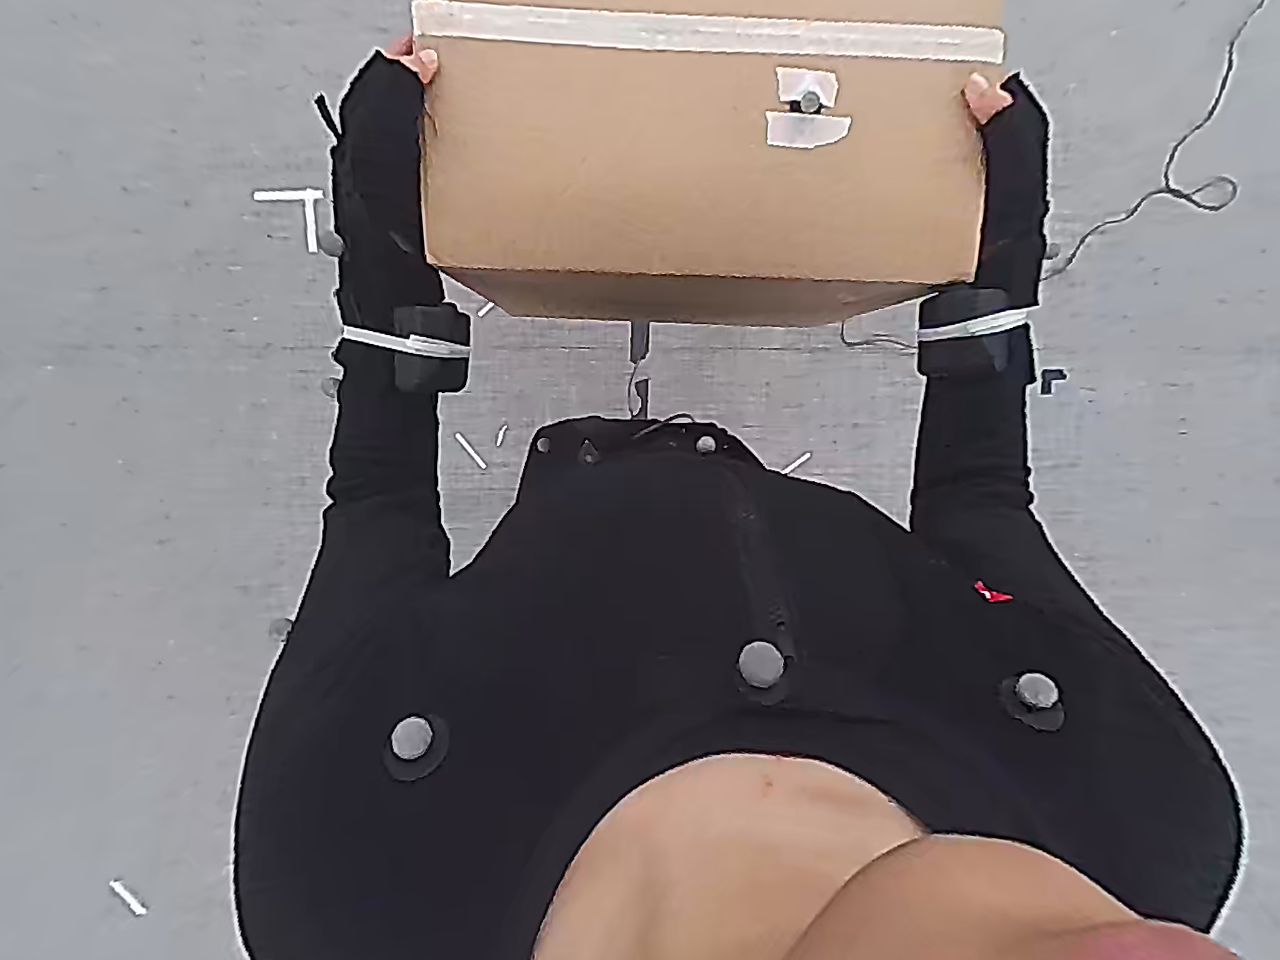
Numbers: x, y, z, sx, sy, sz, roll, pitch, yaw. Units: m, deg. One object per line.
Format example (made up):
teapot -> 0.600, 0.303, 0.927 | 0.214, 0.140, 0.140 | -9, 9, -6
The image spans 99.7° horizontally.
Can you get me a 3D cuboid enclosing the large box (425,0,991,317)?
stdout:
large box -> 0.040, -0.336, 0.526 | 0.408, 0.320, 0.320 | 1, 102, -3
